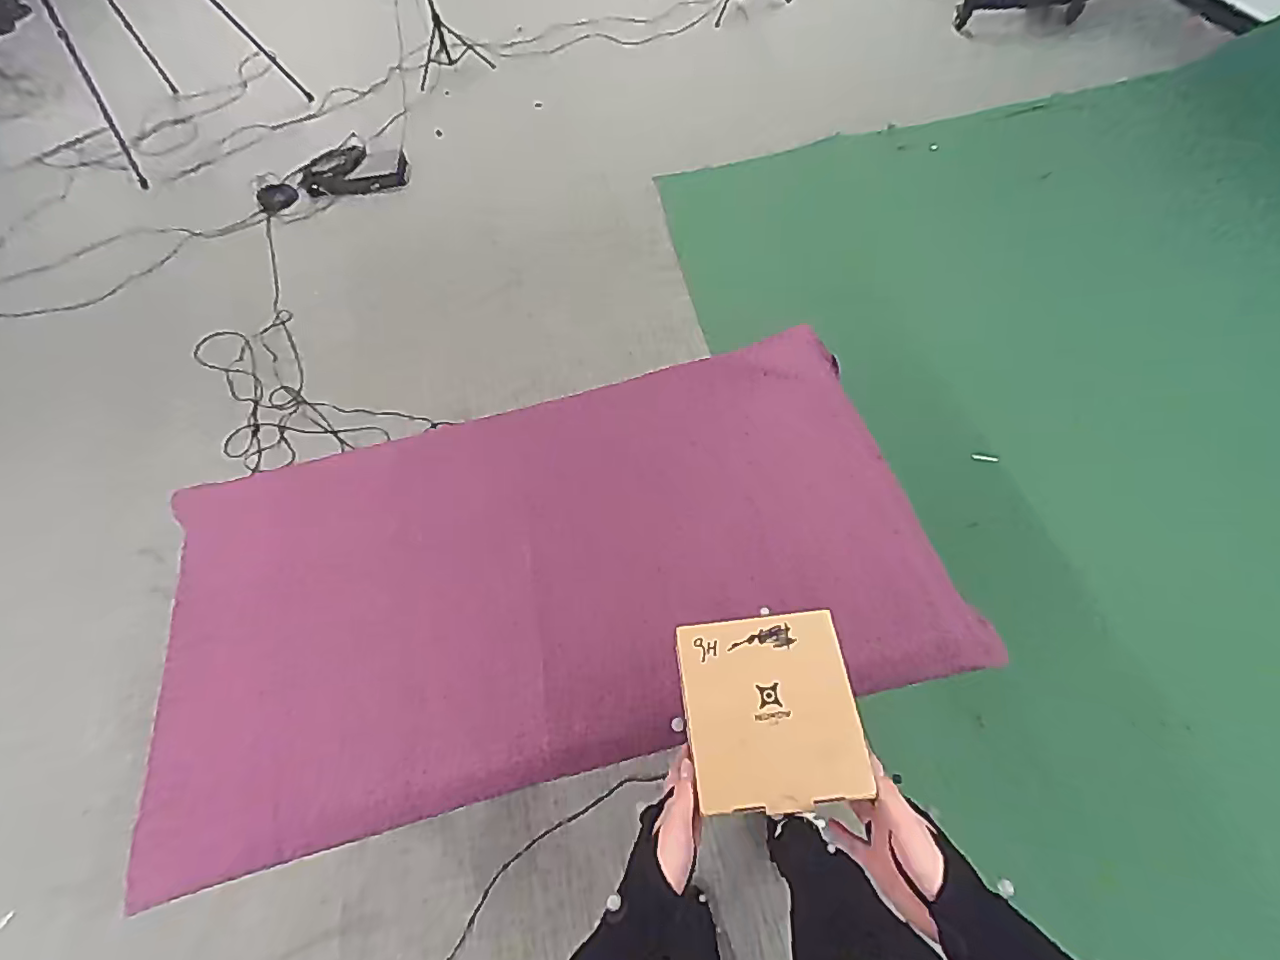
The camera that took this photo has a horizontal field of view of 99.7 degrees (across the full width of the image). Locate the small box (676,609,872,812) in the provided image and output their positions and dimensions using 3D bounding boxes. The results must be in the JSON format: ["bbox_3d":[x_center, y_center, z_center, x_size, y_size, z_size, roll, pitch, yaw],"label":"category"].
[{"bbox_3d":[0.133,0.257,0.608,0.168,0.176,0.179,-7,63,1],"label":"small box"}]
